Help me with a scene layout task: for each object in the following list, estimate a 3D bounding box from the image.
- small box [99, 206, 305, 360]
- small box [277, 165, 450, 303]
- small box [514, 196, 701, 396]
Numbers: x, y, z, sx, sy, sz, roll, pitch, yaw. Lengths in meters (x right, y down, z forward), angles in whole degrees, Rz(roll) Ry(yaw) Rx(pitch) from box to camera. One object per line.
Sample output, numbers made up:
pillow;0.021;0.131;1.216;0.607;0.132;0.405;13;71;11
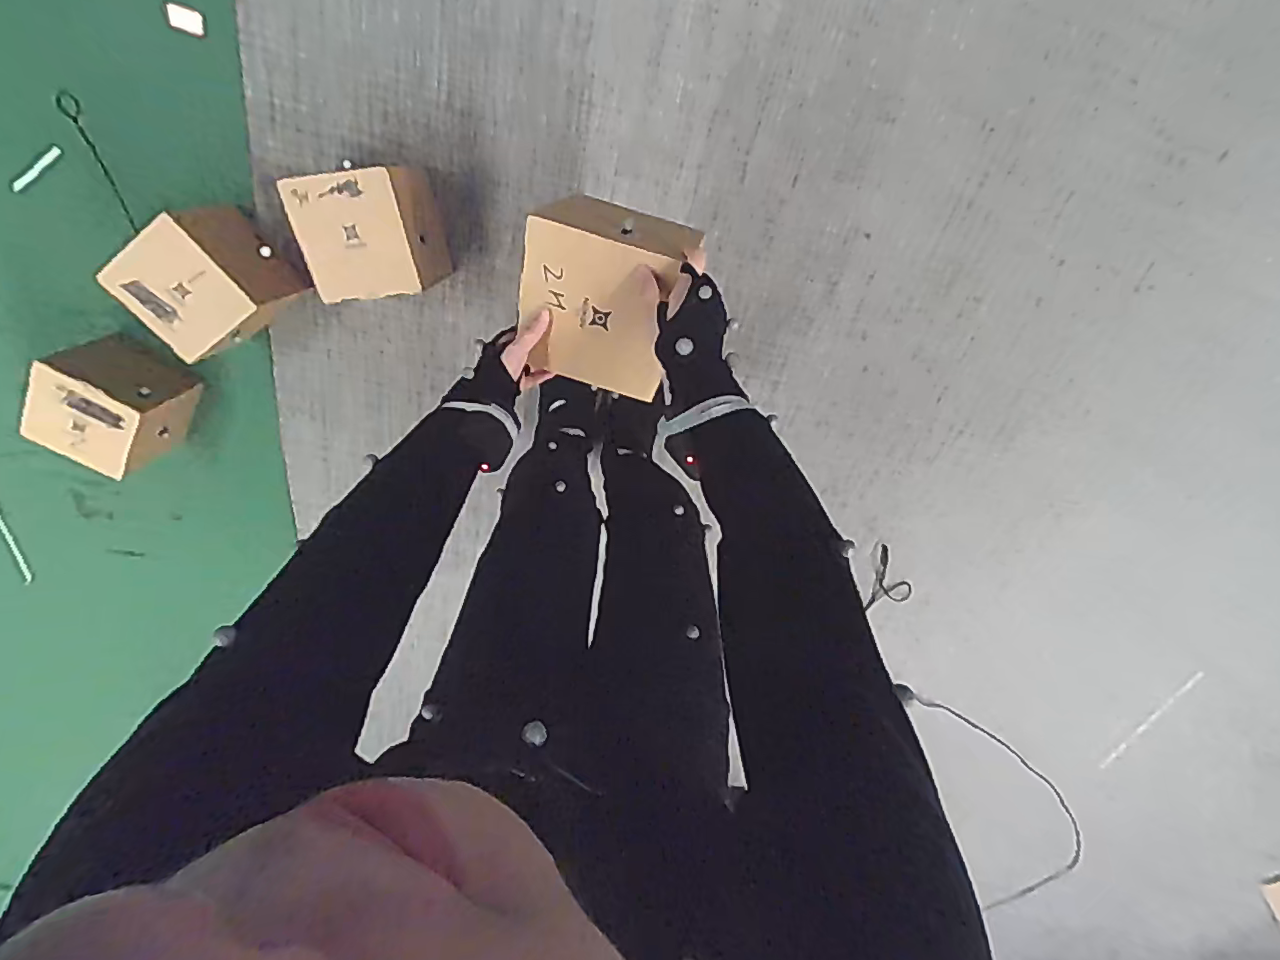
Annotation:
small box;-0.717;-0.334;0.910;0.179;0.176;0.168;-29;117;14
small box;-0.428;-0.401;0.874;0.168;0.176;0.179;-5;121;2
small box;-0.034;-0.232;0.663;0.179;0.176;0.168;18;126;2
